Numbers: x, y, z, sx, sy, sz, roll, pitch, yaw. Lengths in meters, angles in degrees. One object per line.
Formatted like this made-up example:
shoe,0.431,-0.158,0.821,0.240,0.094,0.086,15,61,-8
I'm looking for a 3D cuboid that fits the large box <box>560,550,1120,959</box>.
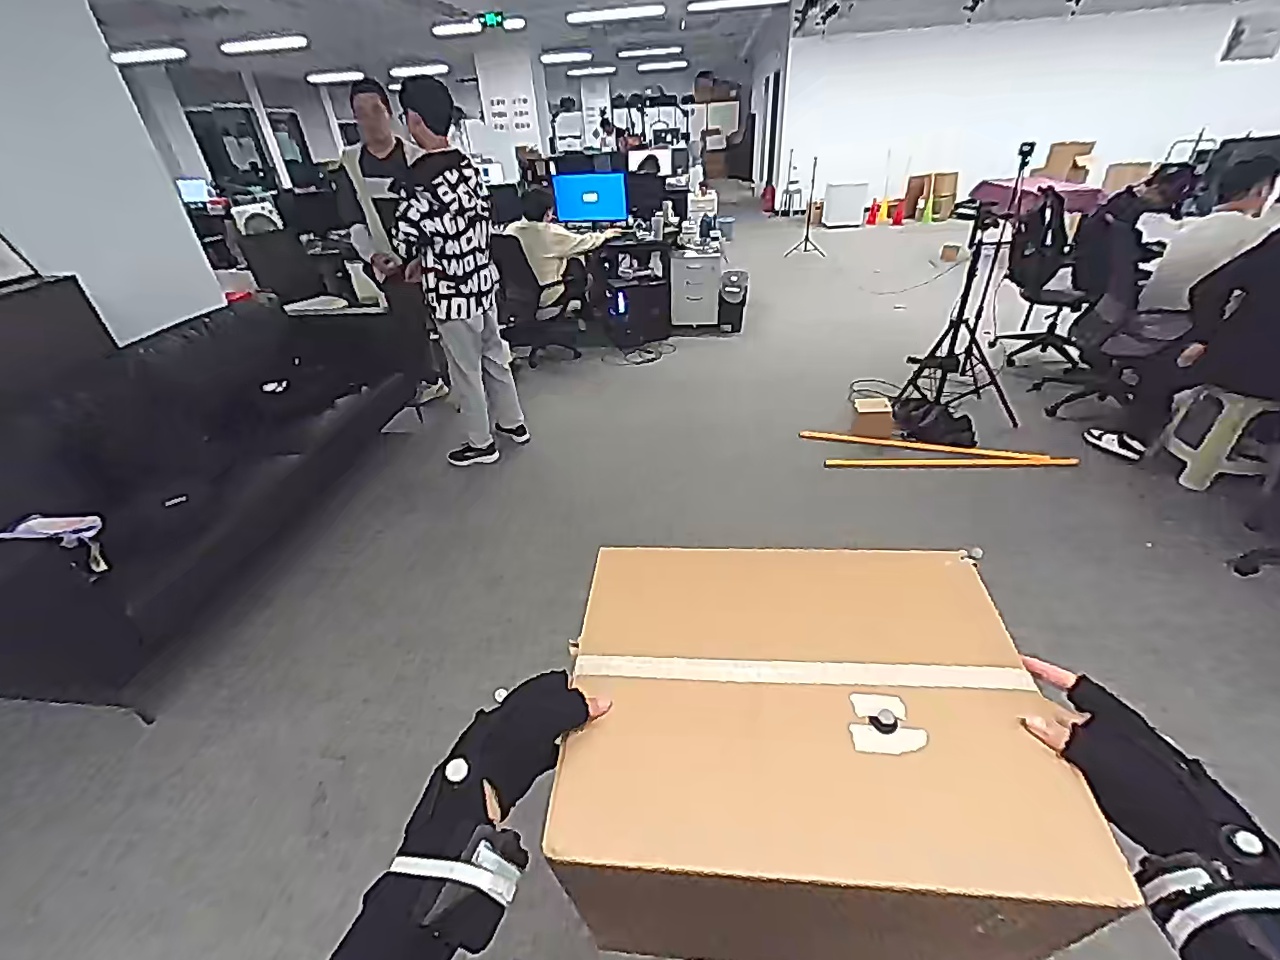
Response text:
large box,0.153,0.292,0.594,0.408,0.320,0.320,0,40,6
